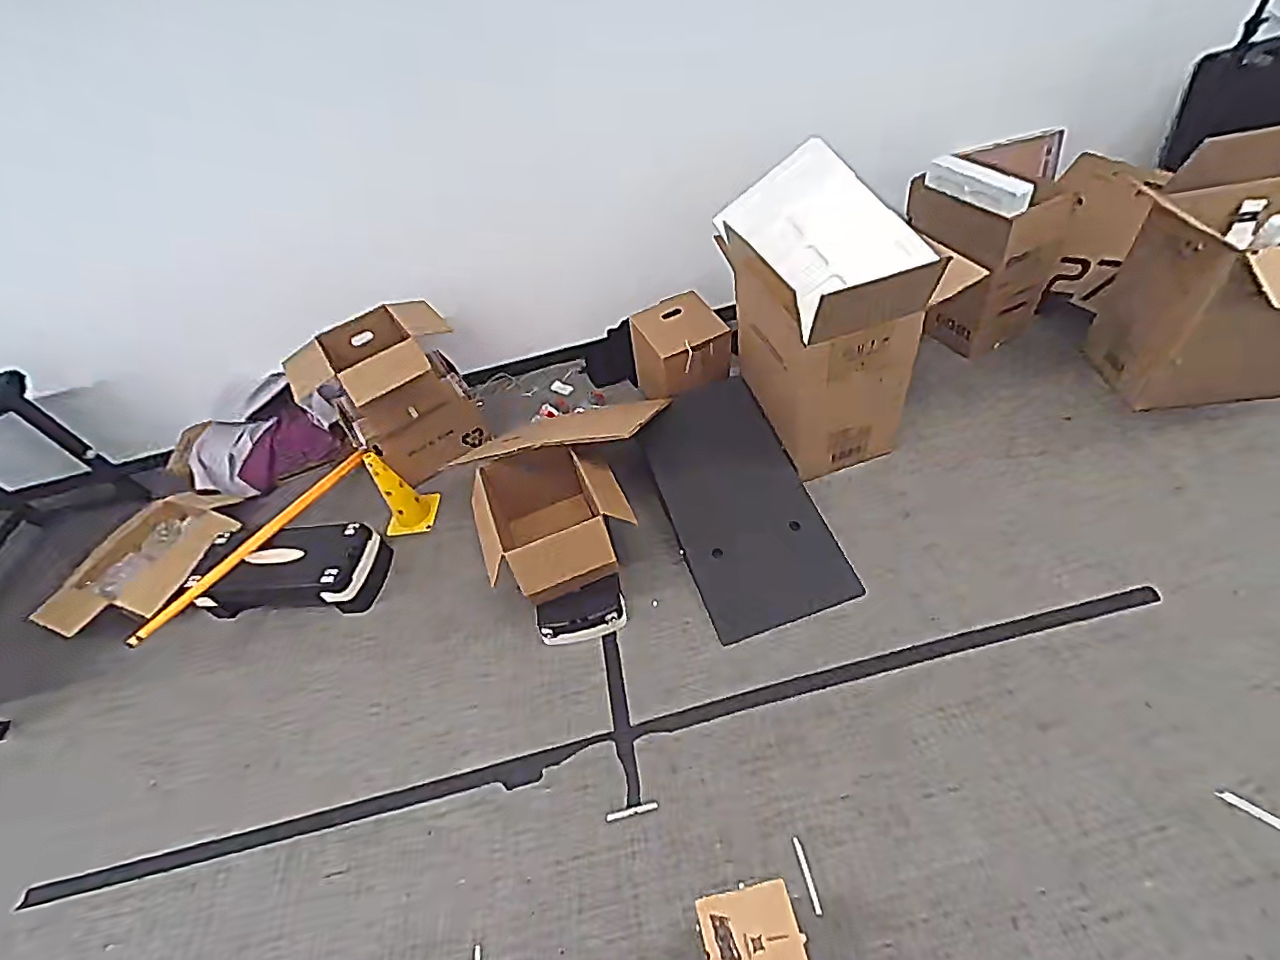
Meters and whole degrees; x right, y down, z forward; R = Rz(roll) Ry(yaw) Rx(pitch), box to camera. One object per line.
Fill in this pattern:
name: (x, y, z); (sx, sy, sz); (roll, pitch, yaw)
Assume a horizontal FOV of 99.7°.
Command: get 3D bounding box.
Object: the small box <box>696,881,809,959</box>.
small box: (0.215, 0.879, 1.010); (0.179, 0.176, 0.168); (-13, 46, -1)
